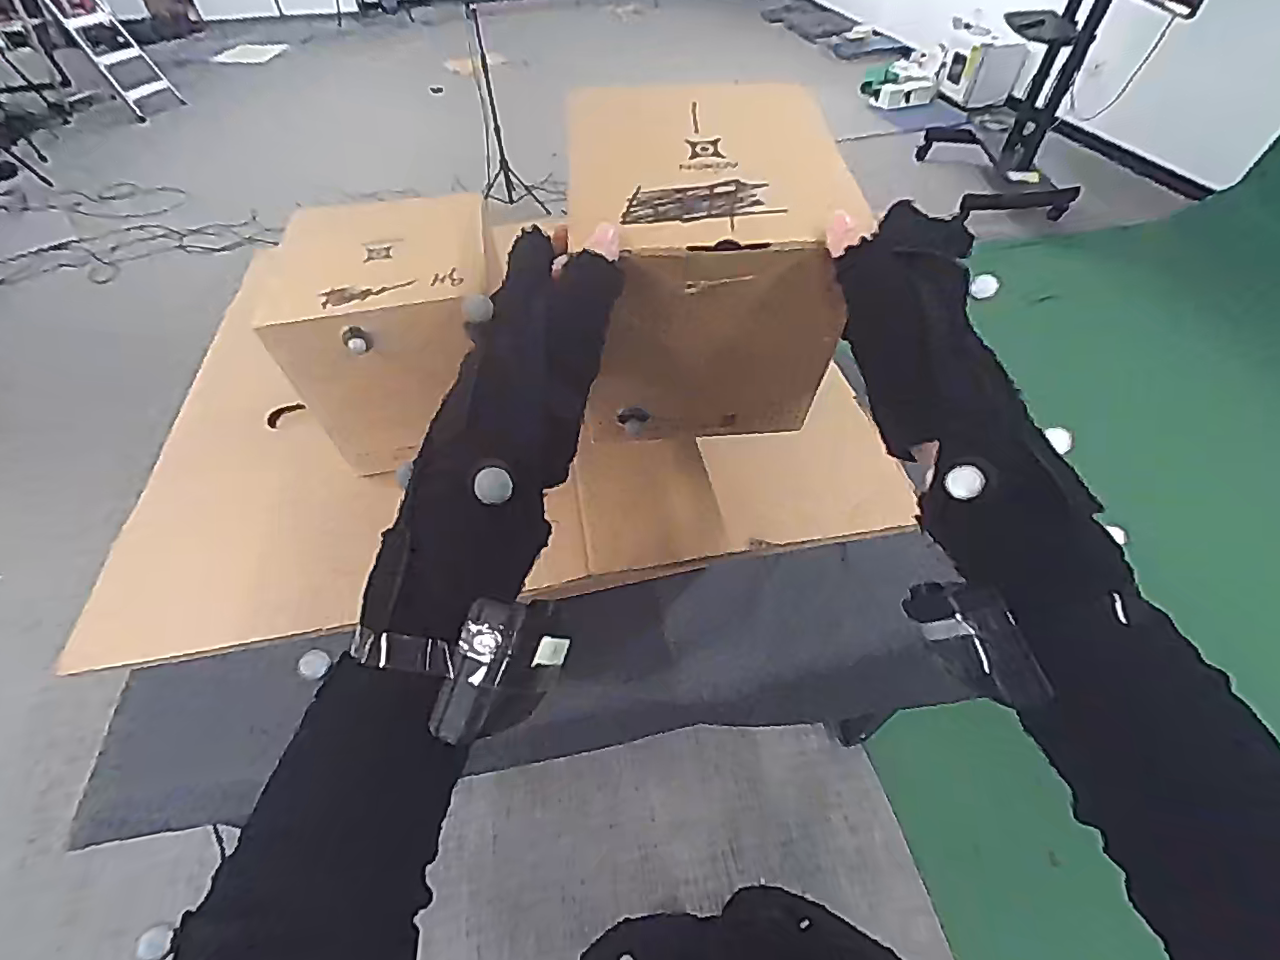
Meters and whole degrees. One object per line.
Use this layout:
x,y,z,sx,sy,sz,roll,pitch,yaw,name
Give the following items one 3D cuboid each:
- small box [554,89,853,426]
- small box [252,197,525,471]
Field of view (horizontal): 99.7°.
0.030,-0.152,0.400,0.168,0.176,0.179,-4,57,-3,small box
-0.208,-0.134,0.503,0.168,0.176,0.179,-10,51,-5,small box
